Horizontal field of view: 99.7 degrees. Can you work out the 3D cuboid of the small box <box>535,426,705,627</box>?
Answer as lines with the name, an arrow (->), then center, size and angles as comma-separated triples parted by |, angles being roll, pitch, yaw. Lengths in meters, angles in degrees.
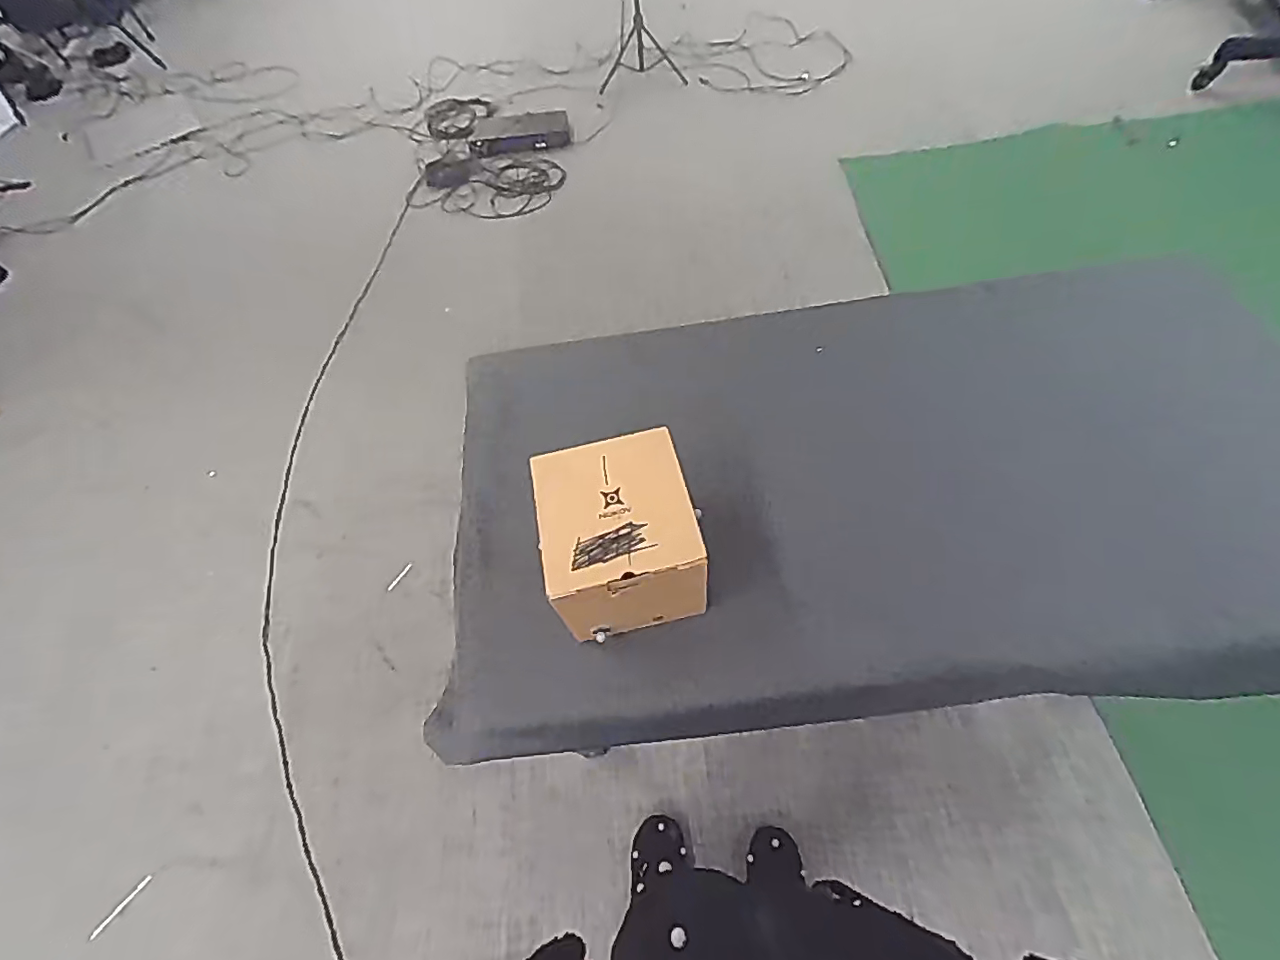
small box -> -0.019, 0.066, 0.655 | 0.168, 0.176, 0.179 | -13, 58, -2
